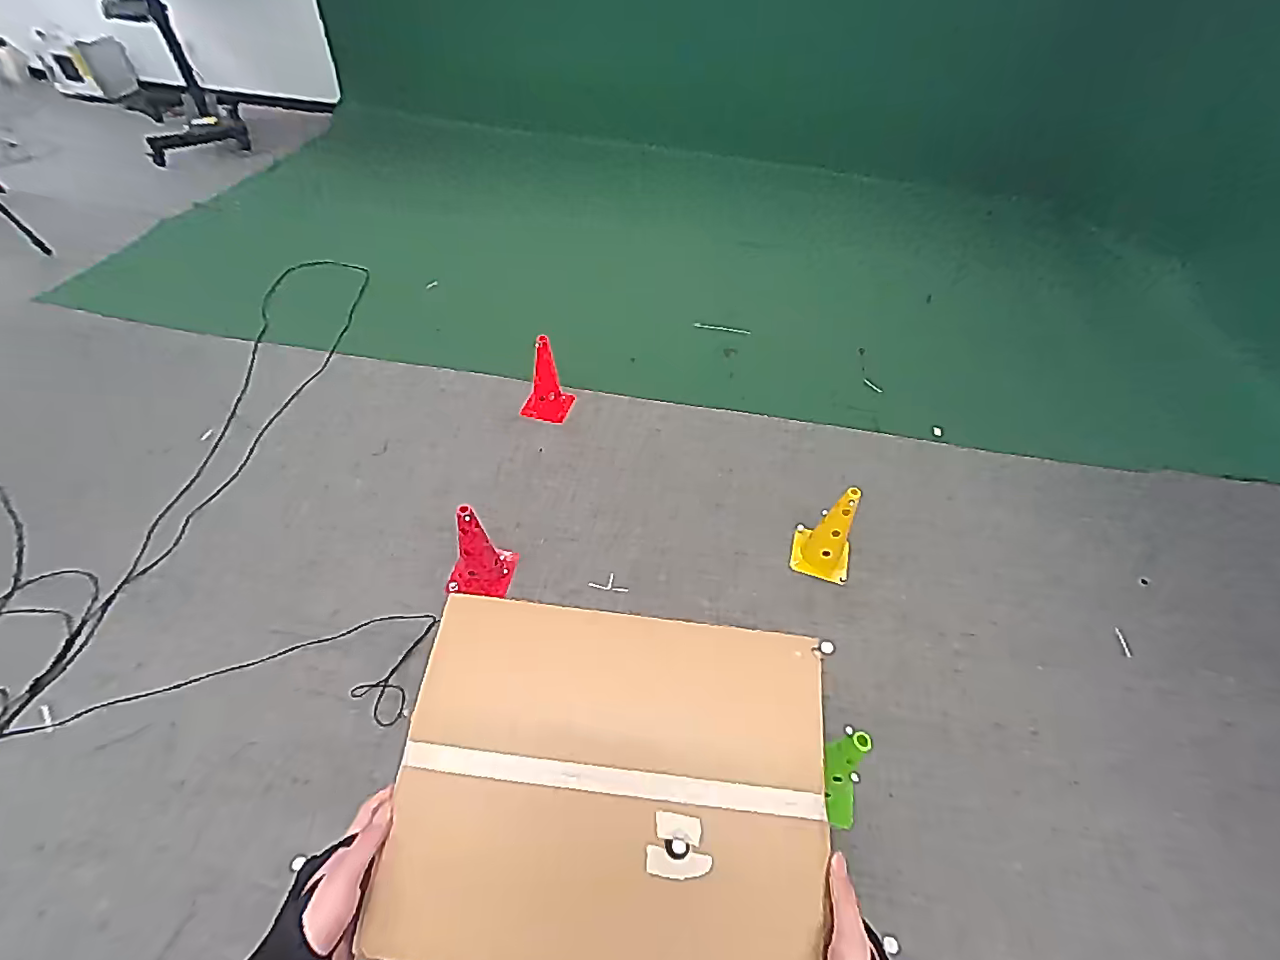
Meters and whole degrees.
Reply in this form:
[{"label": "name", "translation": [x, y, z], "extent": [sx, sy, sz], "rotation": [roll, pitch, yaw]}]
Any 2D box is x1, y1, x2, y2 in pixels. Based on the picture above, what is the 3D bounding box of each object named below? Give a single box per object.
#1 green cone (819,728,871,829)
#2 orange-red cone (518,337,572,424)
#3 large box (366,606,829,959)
[{"label": "green cone", "translation": [0.494, 0.708, 1.354], "extent": [0.200, 0.368, 0.202], "rotation": [14, 48, 6]}, {"label": "orange-red cone", "translation": [-0.411, -0.438, 2.269], "extent": [0.199, 0.360, 0.198], "rotation": [14, 48, 9]}, {"label": "large box", "translation": [-0.029, 0.361, 0.654], "extent": [0.408, 0.320, 0.320], "rotation": [6, 63, 1]}]
